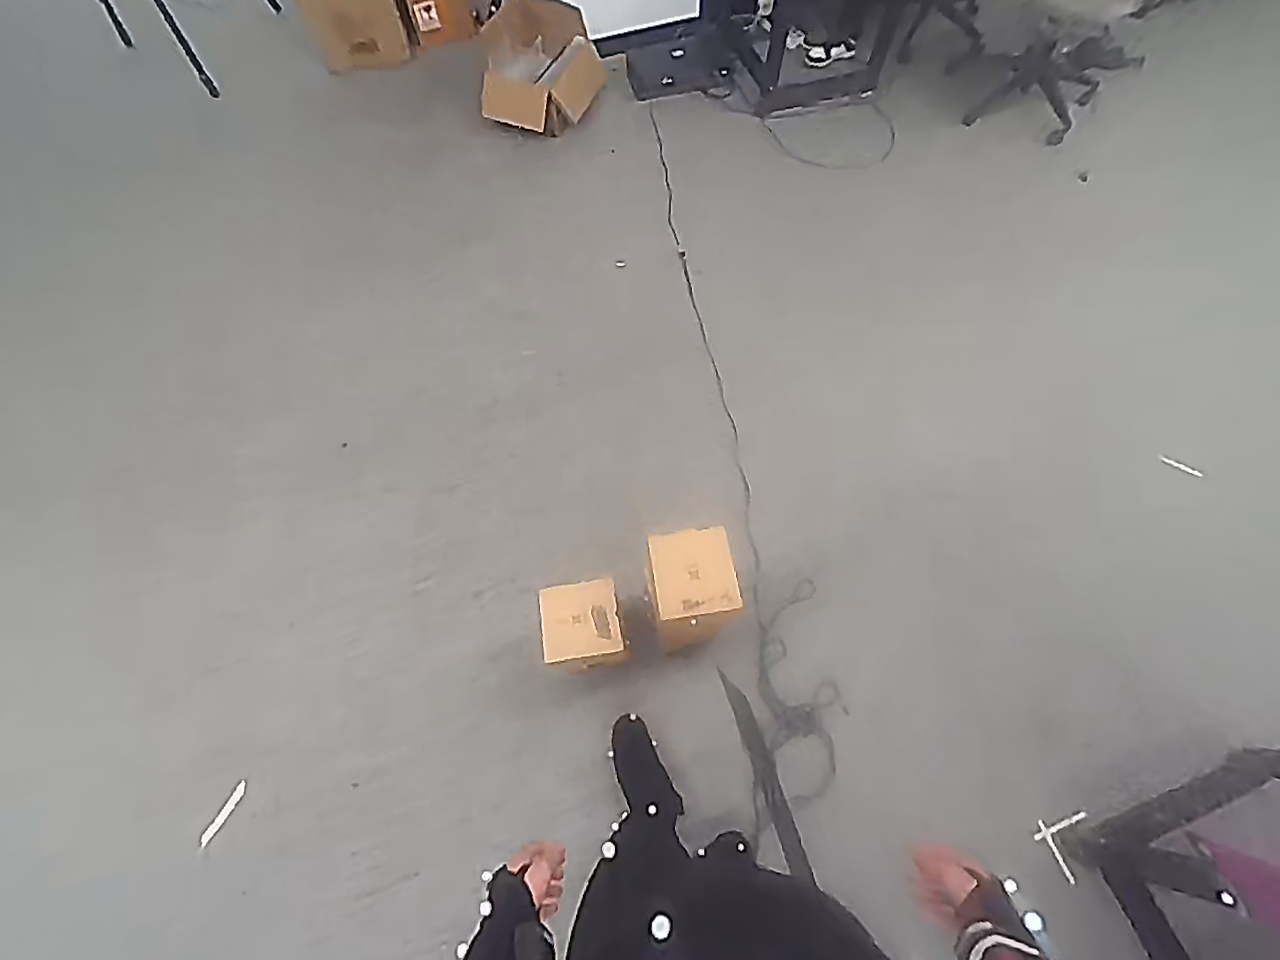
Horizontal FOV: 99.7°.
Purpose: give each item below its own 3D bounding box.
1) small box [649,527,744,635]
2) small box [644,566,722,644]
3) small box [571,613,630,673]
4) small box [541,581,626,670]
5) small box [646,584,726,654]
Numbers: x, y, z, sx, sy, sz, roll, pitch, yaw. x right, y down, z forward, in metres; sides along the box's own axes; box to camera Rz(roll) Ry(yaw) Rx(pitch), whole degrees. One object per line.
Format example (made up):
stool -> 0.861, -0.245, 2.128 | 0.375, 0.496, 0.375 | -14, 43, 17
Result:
small box -> 0.112, 0.220, 1.157 | 0.168, 0.176, 0.179 | -8, 65, -3
small box -> 0.115, 0.286, 1.307 | 0.179, 0.176, 0.168 | -15, 66, -6
small box -> -0.124, 0.400, 1.433 | 0.168, 0.176, 0.179 | -12, 66, -4
small box -> -0.128, 0.347, 1.276 | 0.179, 0.176, 0.168 | -9, 66, -3
small box -> 0.116, 0.352, 1.455 | 0.168, 0.176, 0.179 | -16, 67, -6
